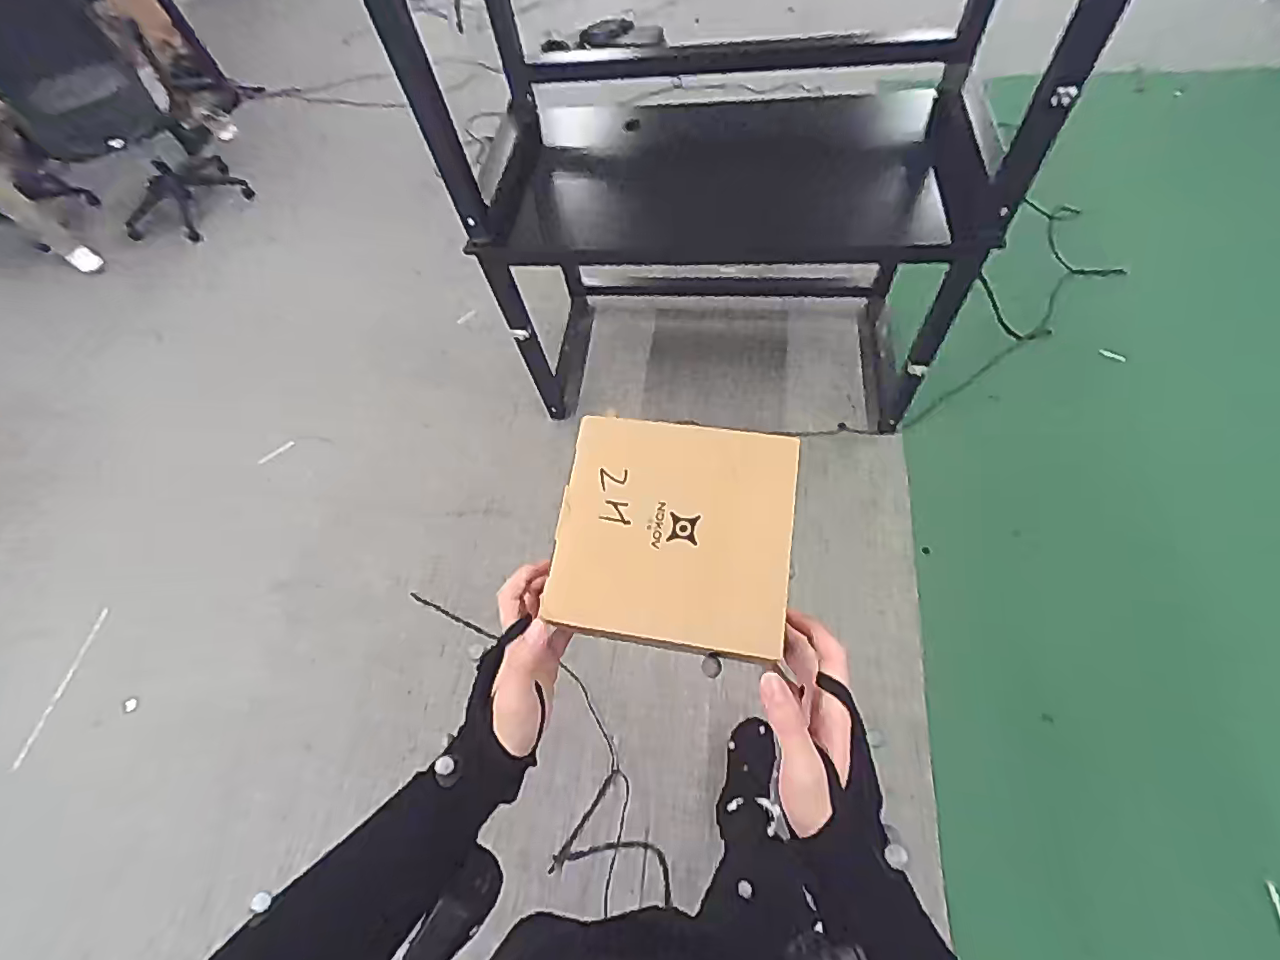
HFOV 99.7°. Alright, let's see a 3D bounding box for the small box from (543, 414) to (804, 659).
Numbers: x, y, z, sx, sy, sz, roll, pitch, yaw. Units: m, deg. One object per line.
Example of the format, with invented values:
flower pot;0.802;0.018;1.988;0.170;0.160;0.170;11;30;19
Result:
small box;0.036;0.059;0.478;0.179;0.176;0.168;7;71;9
